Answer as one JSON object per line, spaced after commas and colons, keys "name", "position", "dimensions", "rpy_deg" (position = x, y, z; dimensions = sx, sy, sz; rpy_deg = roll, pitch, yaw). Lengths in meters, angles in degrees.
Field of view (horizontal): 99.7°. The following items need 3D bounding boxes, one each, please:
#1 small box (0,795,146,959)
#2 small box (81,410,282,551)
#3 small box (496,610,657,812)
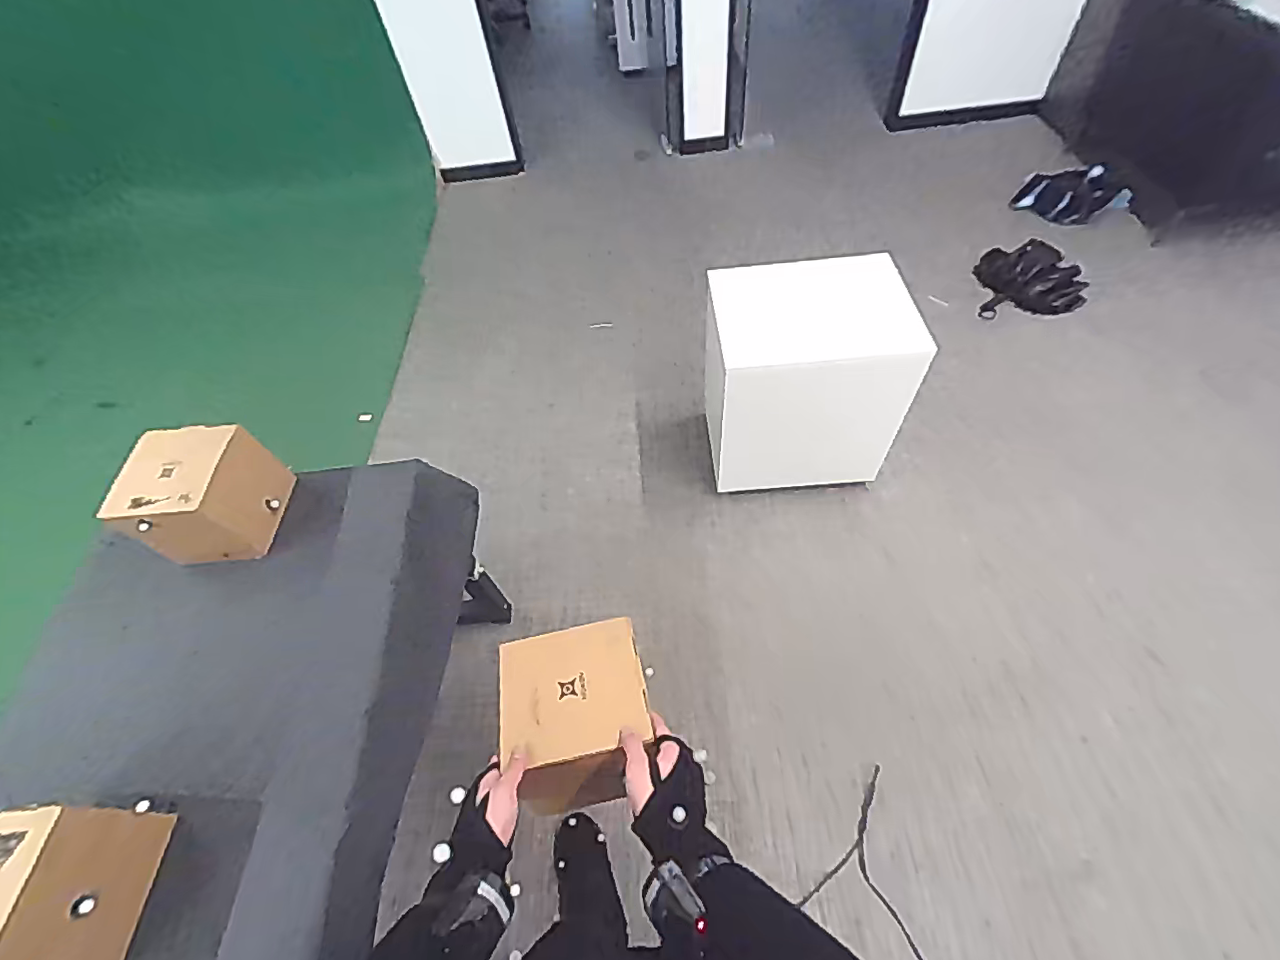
{"name": "small box", "position": [-0.716, 0.460, 0.599], "dimensions": [0.168, 0.176, 0.179], "rpy_deg": [-4, 56, 2]}
{"name": "small box", "position": [-0.754, 0.003, 0.918], "dimensions": [0.168, 0.176, 0.179], "rpy_deg": [-3, 55, 1]}
{"name": "small box", "position": [-0.077, 0.297, 0.695], "dimensions": [0.179, 0.176, 0.168], "rpy_deg": [-12, 43, -5]}
